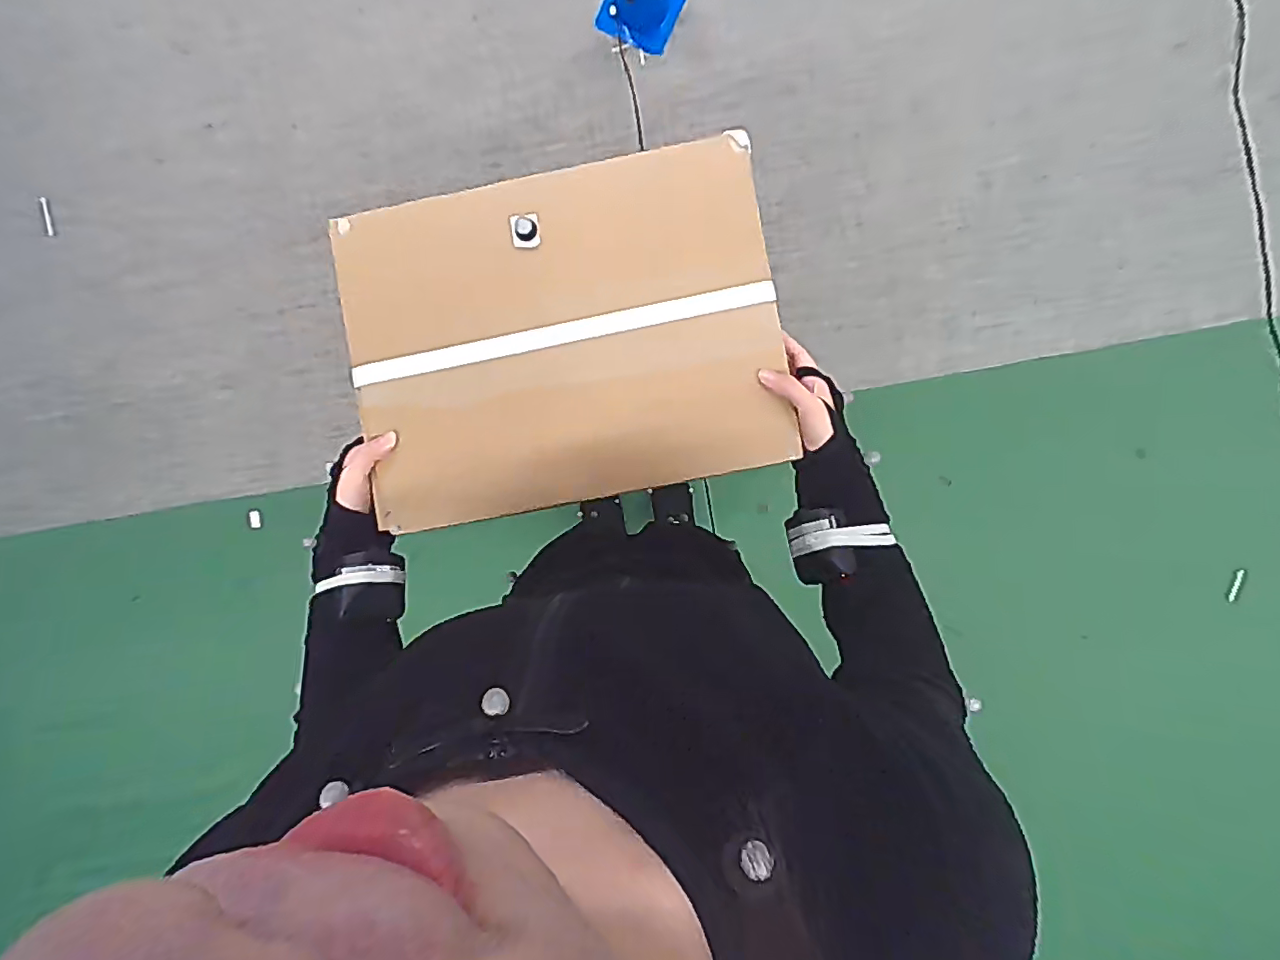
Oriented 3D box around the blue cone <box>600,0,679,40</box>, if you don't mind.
[{"bbox_3d":[-0.003,-1.230,1.223,0.192,0.380,0.193,23,96,2],"label":"blue cone"}]
